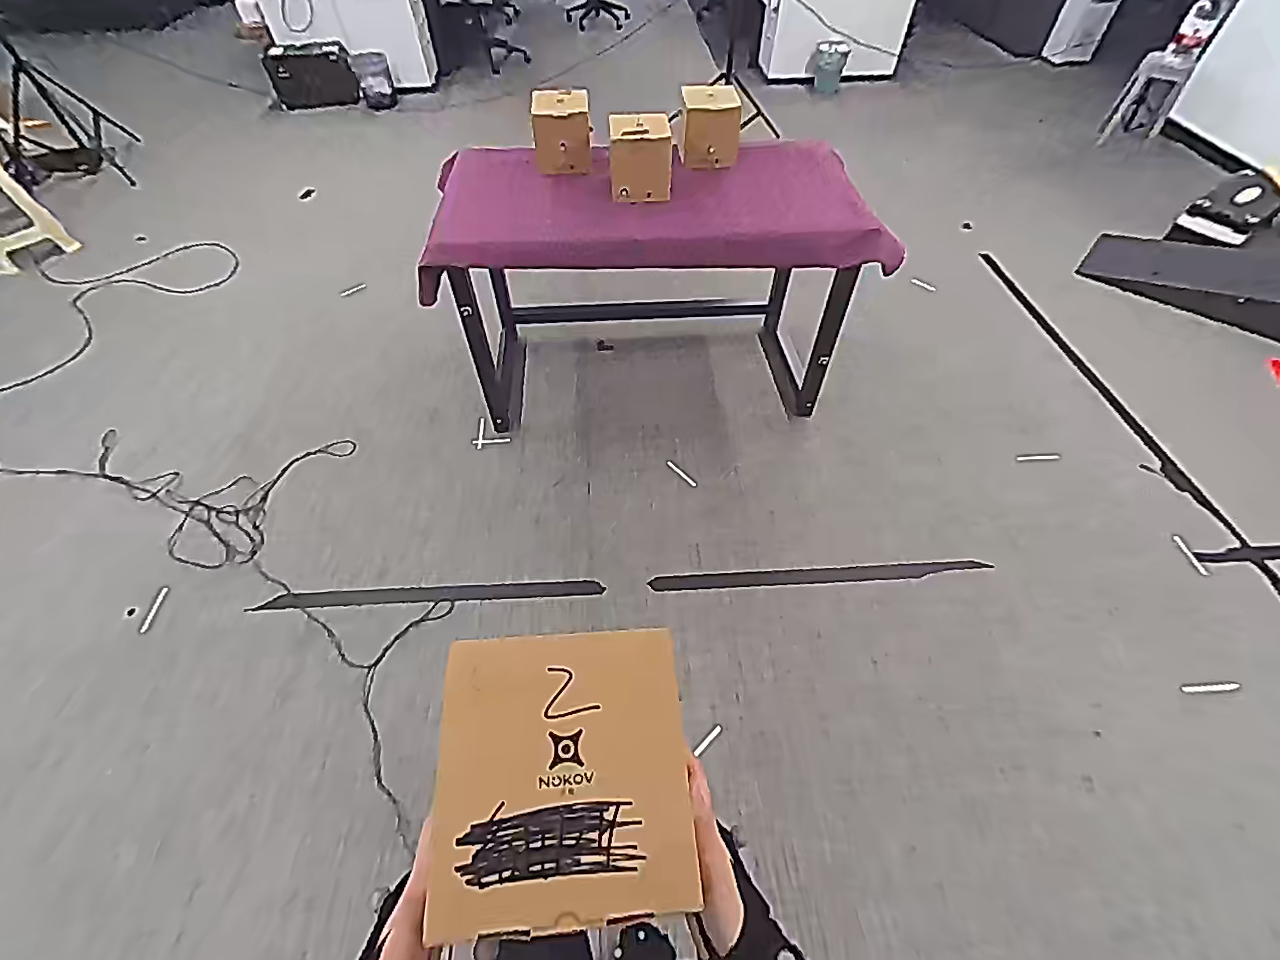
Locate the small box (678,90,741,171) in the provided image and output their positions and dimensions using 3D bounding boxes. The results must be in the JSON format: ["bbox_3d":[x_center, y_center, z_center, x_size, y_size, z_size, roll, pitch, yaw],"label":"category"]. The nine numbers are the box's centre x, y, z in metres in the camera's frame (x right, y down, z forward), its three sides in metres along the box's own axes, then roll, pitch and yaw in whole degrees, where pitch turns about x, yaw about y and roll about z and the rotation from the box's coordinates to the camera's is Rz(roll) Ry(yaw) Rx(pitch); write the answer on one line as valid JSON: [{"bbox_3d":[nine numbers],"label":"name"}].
[{"bbox_3d":[0.210,-1.088,1.683,0.168,0.176,0.179,-4,53,-2],"label":"small box"}]

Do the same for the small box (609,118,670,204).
[{"bbox_3d":[-0.001,-0.910,1.549,0.168,0.176,0.179,-3,51,-2],"label":"small box"}]

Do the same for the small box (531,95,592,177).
[{"bbox_3d":[-0.235,-1.049,1.657,0.168,0.176,0.179,-4,54,-3],"label":"small box"}]
